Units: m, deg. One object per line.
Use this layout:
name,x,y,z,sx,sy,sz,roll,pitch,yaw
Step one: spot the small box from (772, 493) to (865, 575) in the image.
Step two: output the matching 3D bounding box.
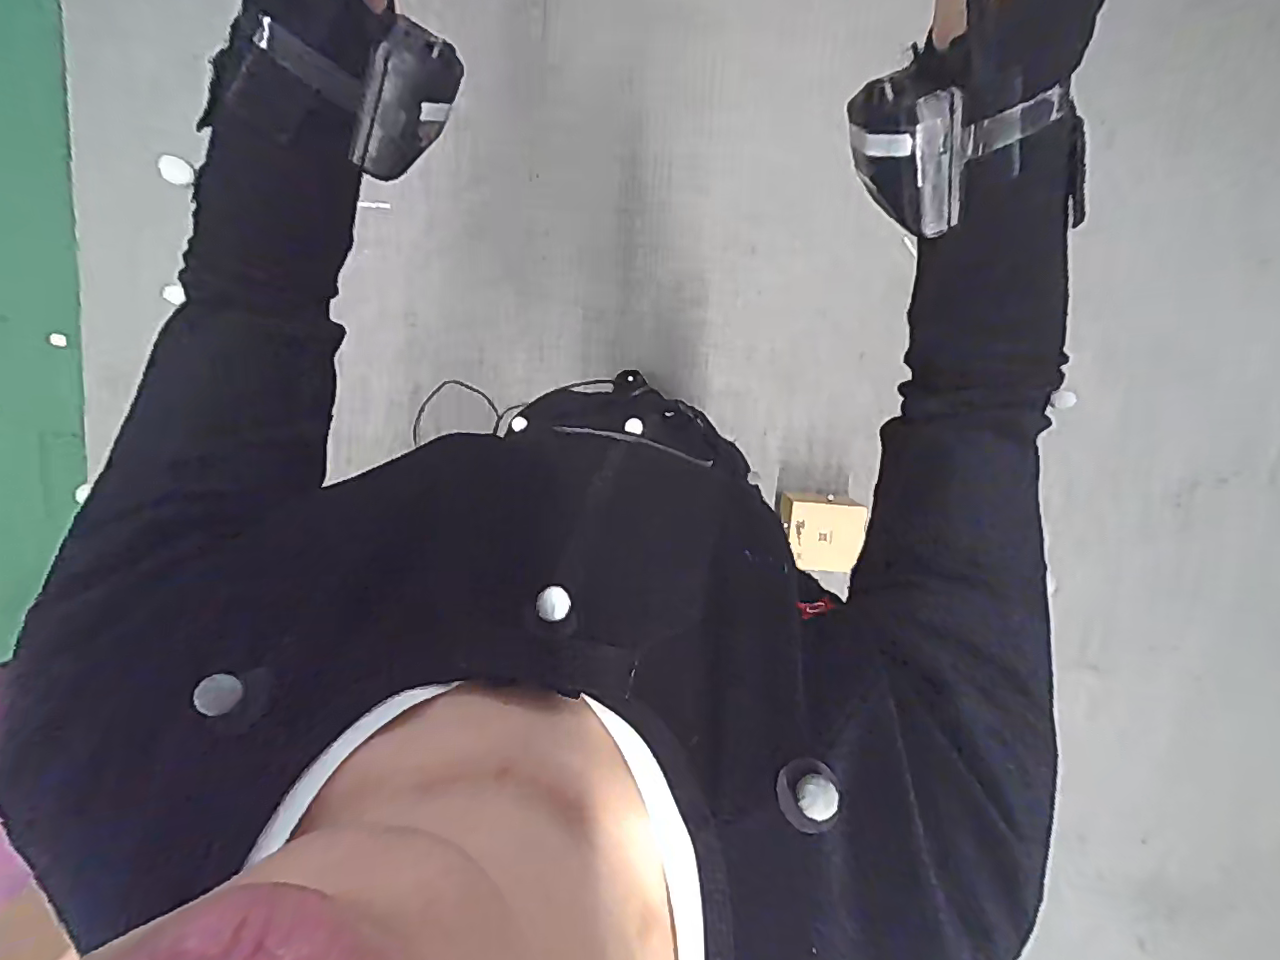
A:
small box,0.443,0.129,1.363,0.179,0.176,0.168,5,97,4
